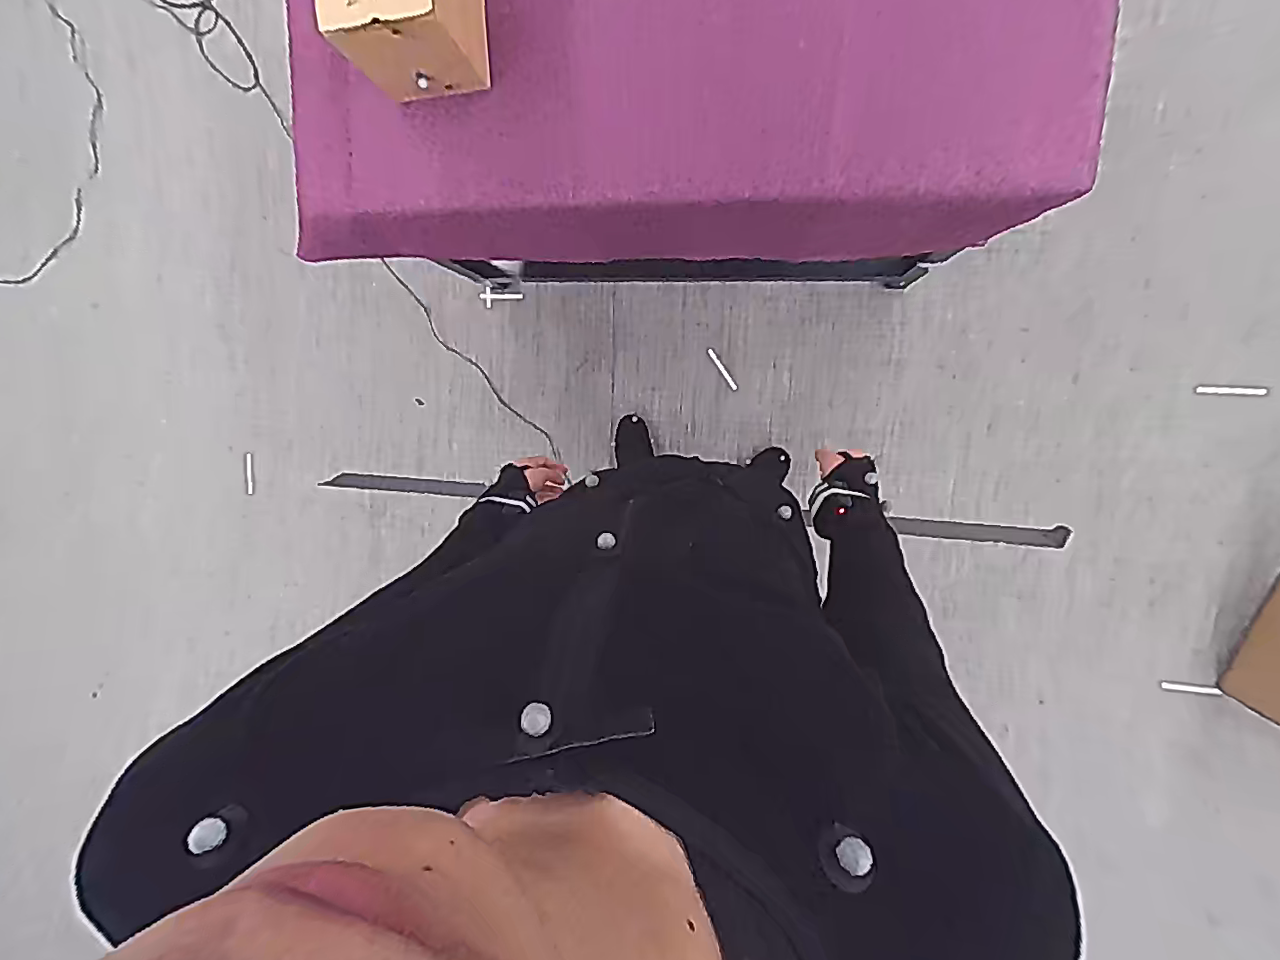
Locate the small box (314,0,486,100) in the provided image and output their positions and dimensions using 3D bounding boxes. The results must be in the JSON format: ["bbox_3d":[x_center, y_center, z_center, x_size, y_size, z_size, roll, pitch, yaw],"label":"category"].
[{"bbox_3d":[-0.333,-0.683,0.765,0.168,0.176,0.179,-1,98,10],"label":"small box"}]
